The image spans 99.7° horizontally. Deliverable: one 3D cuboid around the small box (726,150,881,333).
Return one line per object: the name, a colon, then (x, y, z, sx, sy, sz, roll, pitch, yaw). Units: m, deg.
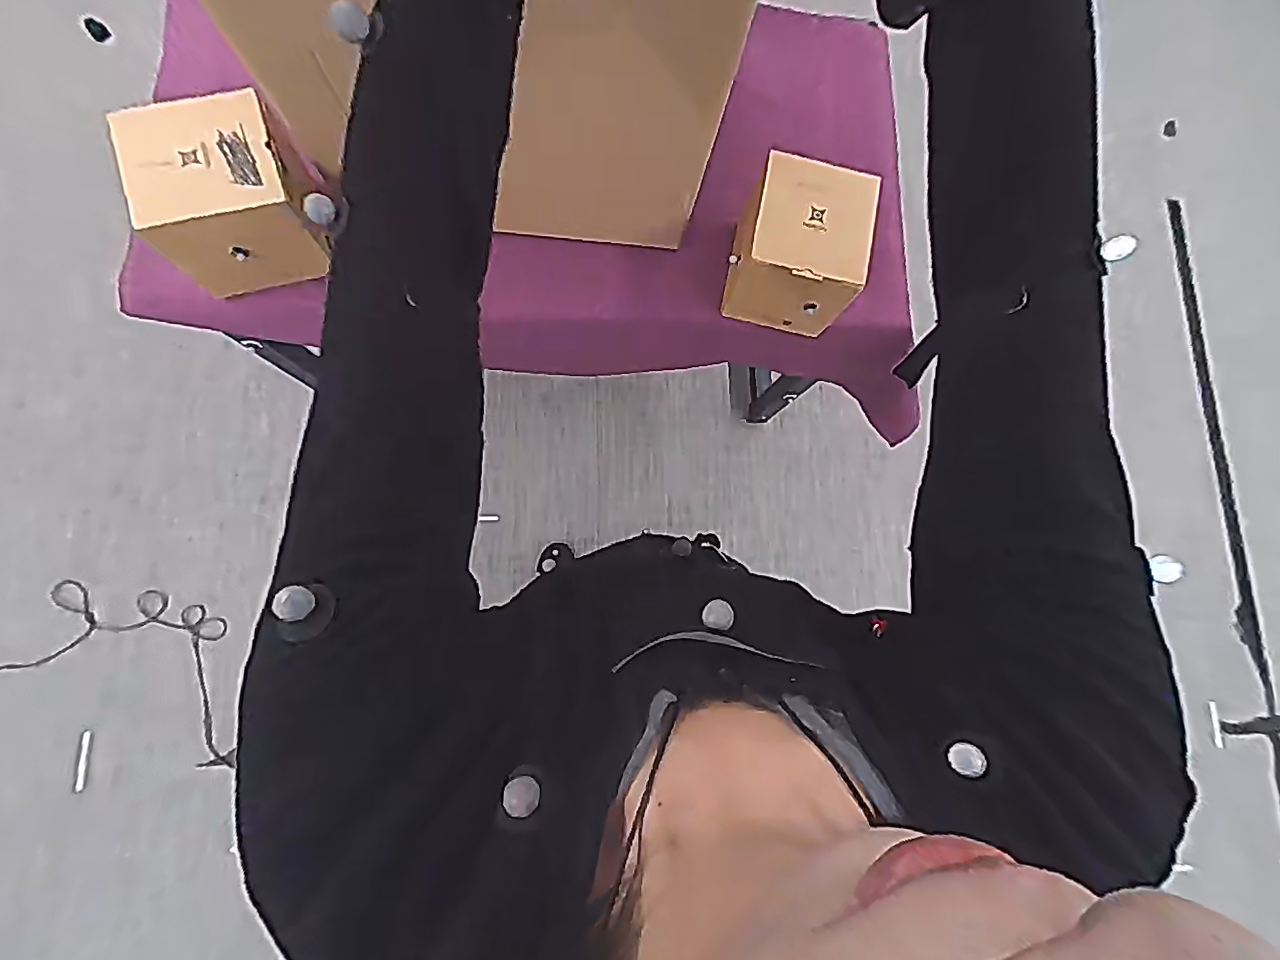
small box: (0.238, -0.348, 0.822, 0.168, 0.176, 0.179, 12, 79, -5)
